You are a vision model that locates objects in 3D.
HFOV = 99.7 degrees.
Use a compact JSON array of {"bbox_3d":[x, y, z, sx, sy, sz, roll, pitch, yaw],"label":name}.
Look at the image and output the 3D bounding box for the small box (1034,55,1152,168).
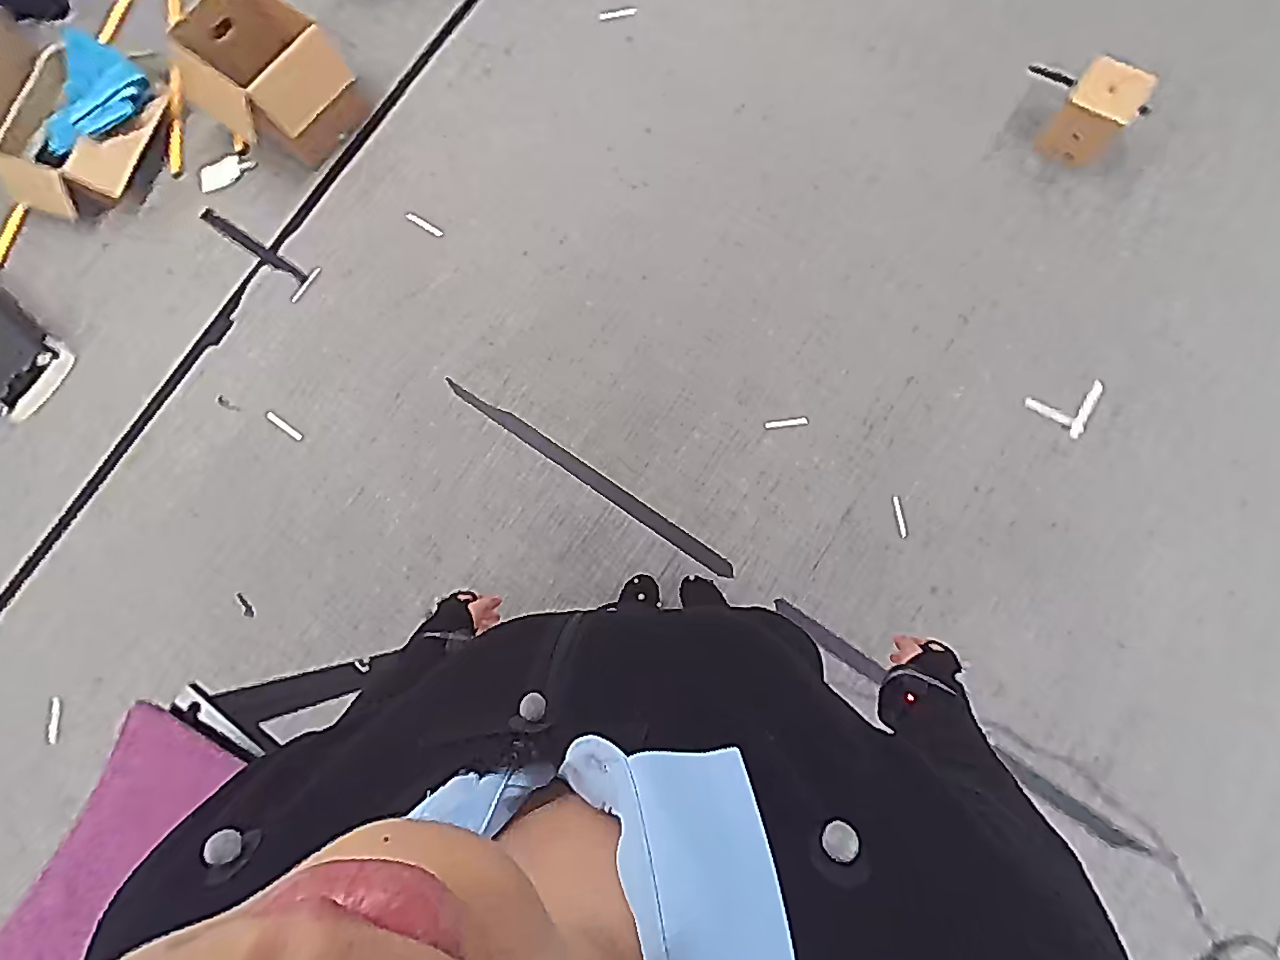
[{"bbox_3d":[1.280,-1.045,1.547,0.168,0.176,0.179,35,84,11],"label":"small box"}]
